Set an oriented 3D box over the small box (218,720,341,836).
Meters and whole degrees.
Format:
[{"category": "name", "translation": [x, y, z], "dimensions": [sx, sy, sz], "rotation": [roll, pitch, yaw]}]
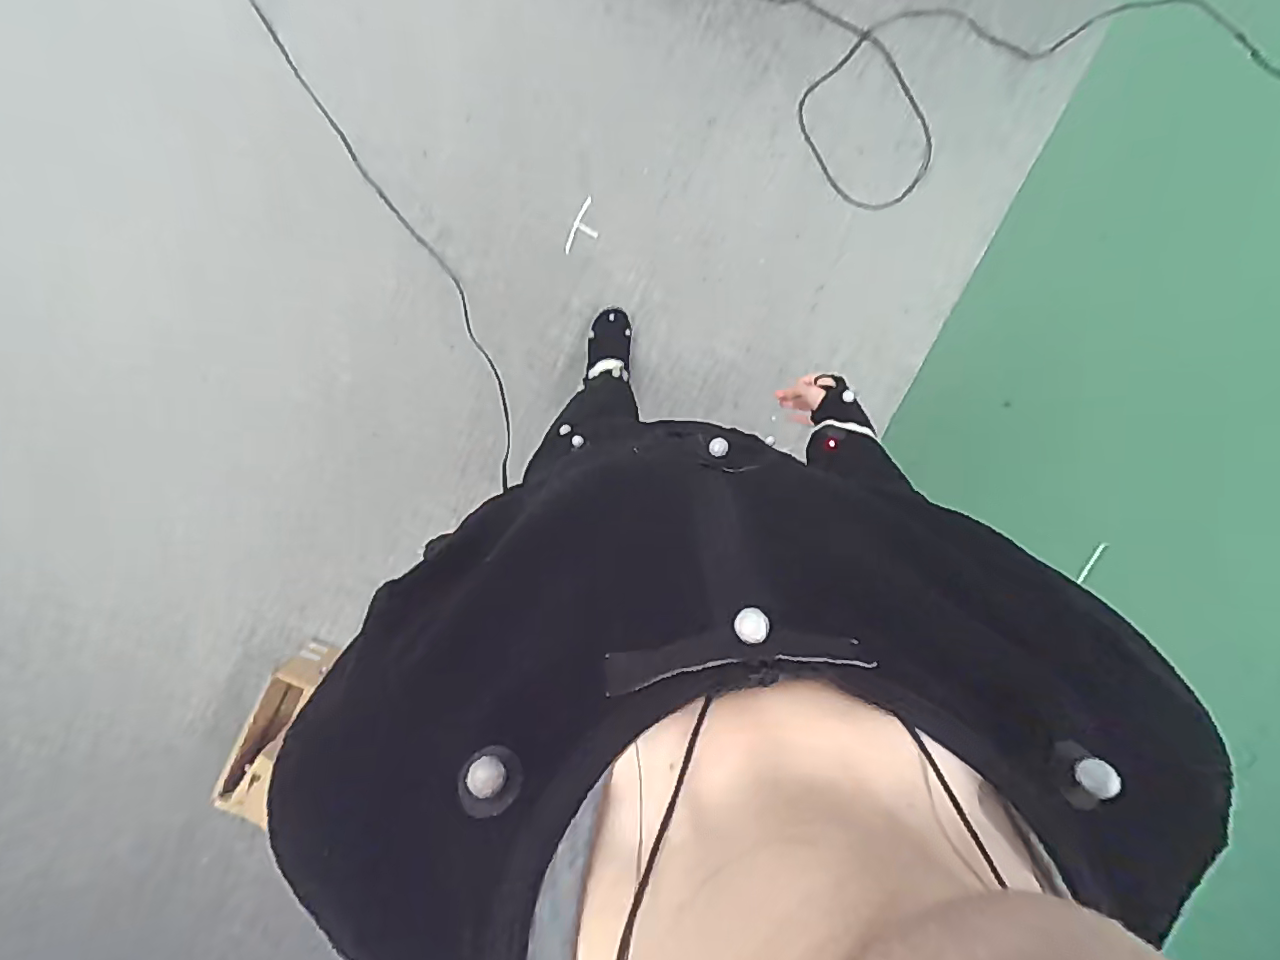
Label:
[{"category": "small box", "translation": [-0.920, 0.762, 1.402], "dimensions": [0.179, 0.176, 0.168], "rotation": [36, 93, -10]}]
